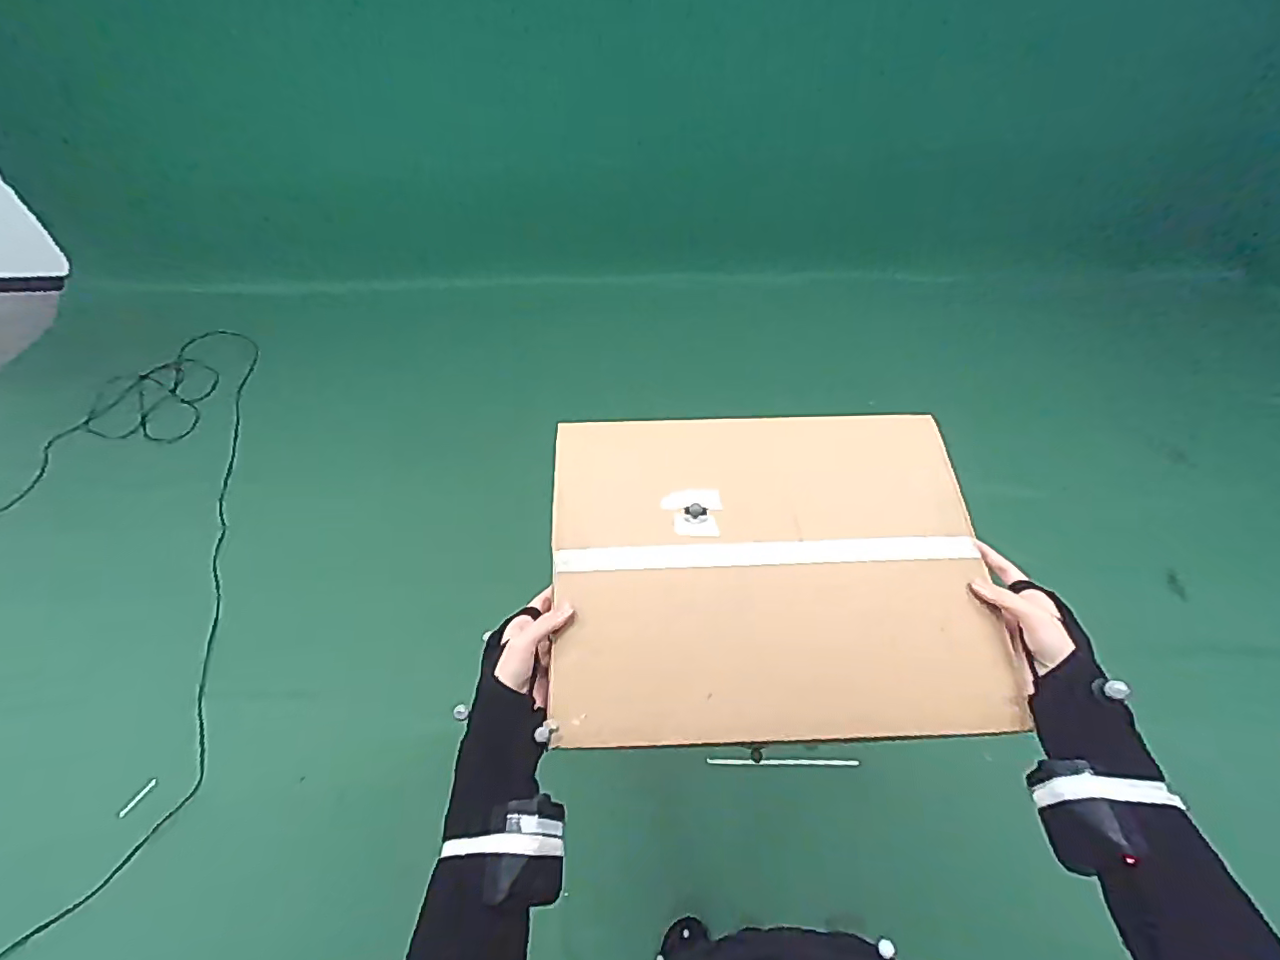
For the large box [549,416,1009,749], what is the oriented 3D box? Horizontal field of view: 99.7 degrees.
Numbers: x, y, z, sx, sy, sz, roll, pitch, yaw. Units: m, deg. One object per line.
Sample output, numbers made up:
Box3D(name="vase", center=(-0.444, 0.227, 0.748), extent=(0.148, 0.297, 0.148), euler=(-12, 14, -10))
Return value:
Box3D(name="large box", center=(0.117, 0.142, 0.657), extent=(0.408, 0.320, 0.320), euler=(-3, 63, 0))
